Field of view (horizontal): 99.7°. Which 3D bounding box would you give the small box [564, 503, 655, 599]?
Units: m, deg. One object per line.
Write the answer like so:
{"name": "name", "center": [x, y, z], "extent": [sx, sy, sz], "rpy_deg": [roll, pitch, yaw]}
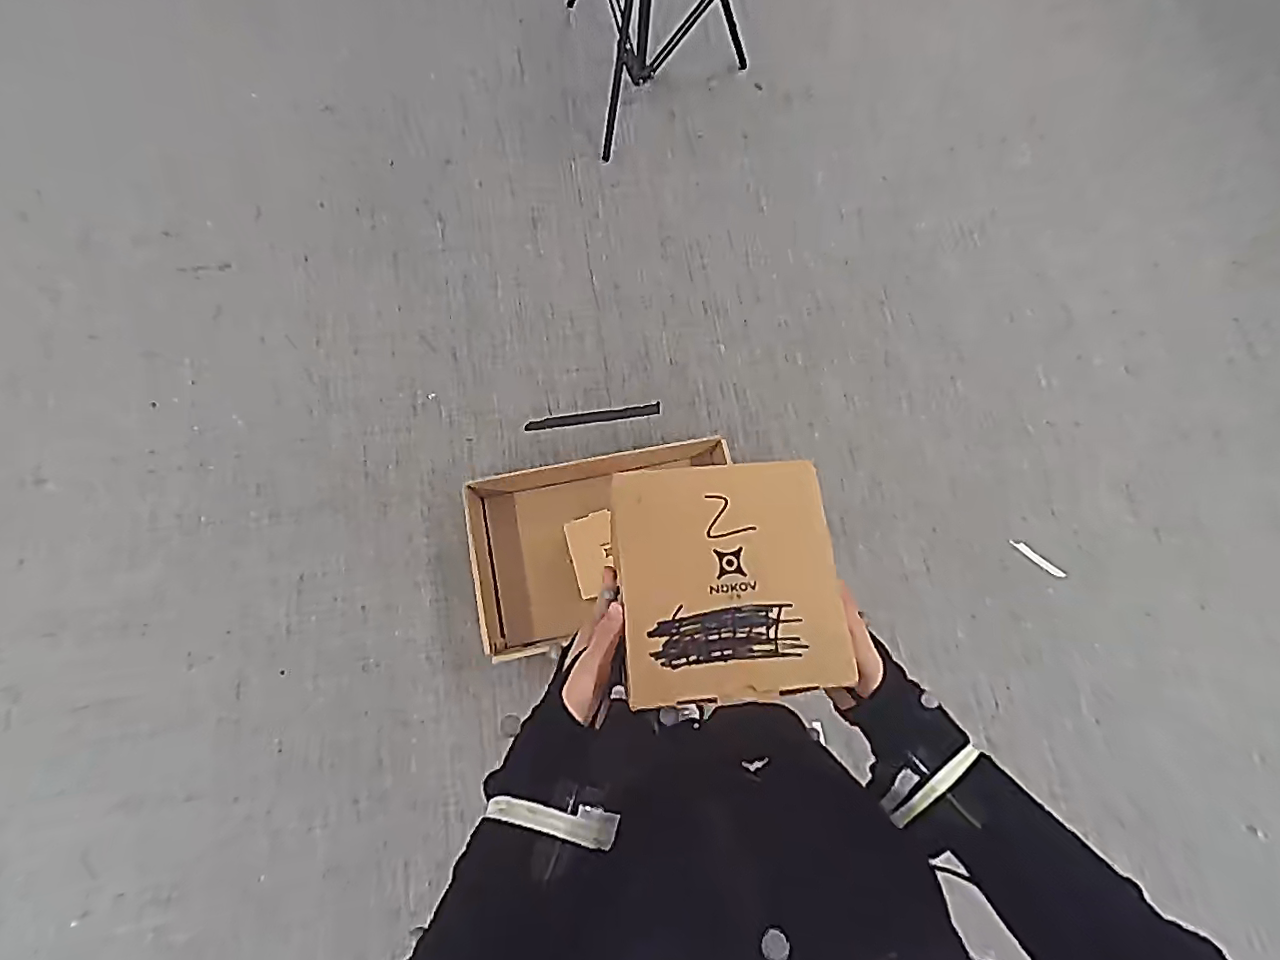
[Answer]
{"name": "small box", "center": [-0.074, 0.171, 1.254], "extent": [0.168, 0.176, 0.179], "rpy_deg": [-16, 79, -7]}
